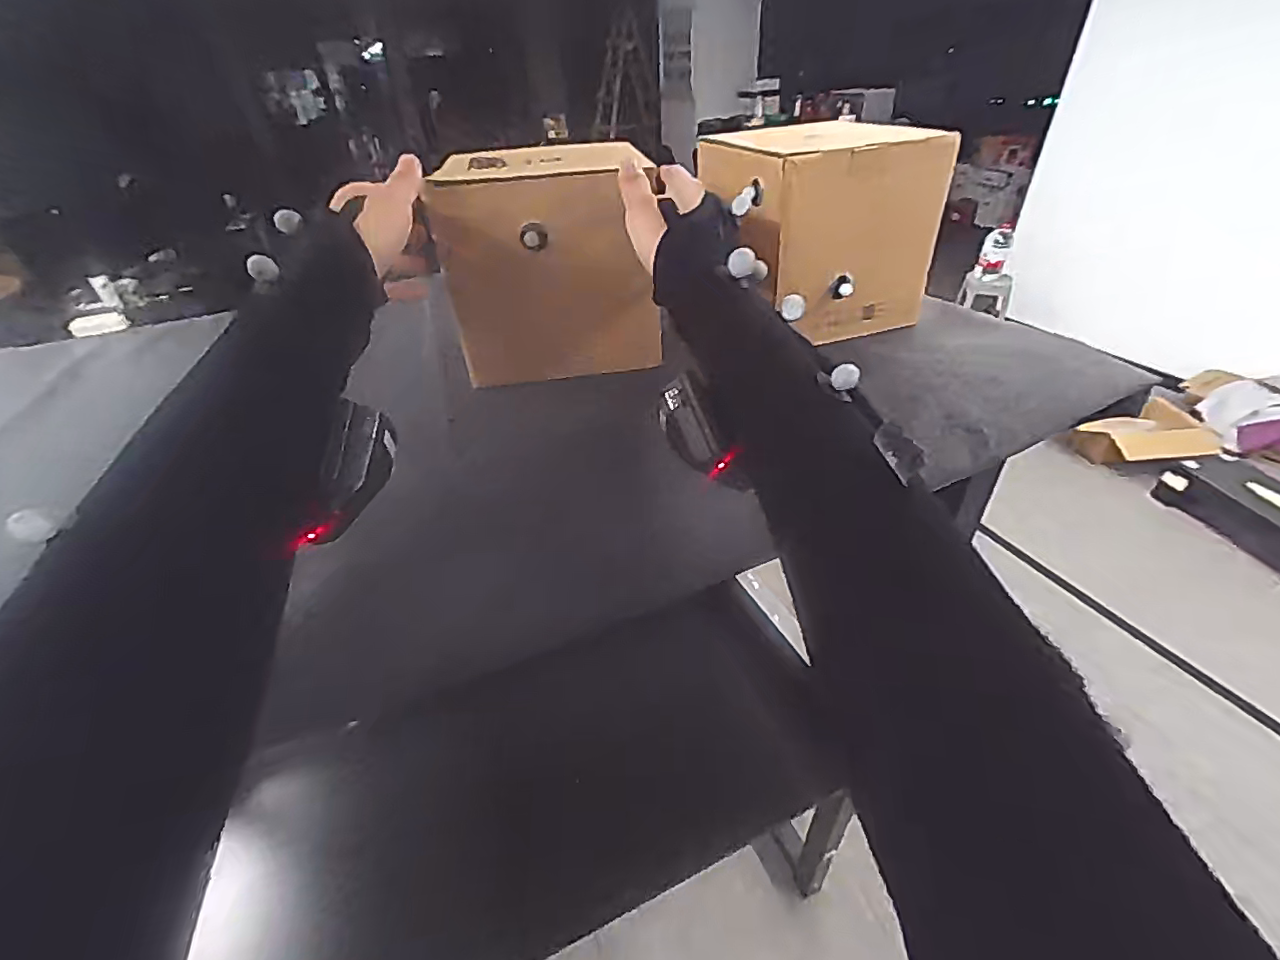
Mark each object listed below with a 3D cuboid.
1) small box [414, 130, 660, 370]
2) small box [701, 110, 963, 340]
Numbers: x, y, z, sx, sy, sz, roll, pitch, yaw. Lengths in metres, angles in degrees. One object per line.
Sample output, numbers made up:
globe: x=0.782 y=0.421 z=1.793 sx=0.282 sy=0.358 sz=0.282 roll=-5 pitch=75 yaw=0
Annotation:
small box: x=-0.081 y=-0.213 z=0.501 sx=0.179 sy=0.176 sz=0.168 roll=-7 pitch=38 yaw=-4
small box: x=0.164 y=-0.255 z=0.534 sx=0.168 sy=0.176 sz=0.179 roll=-14 pitch=39 yaw=-12
